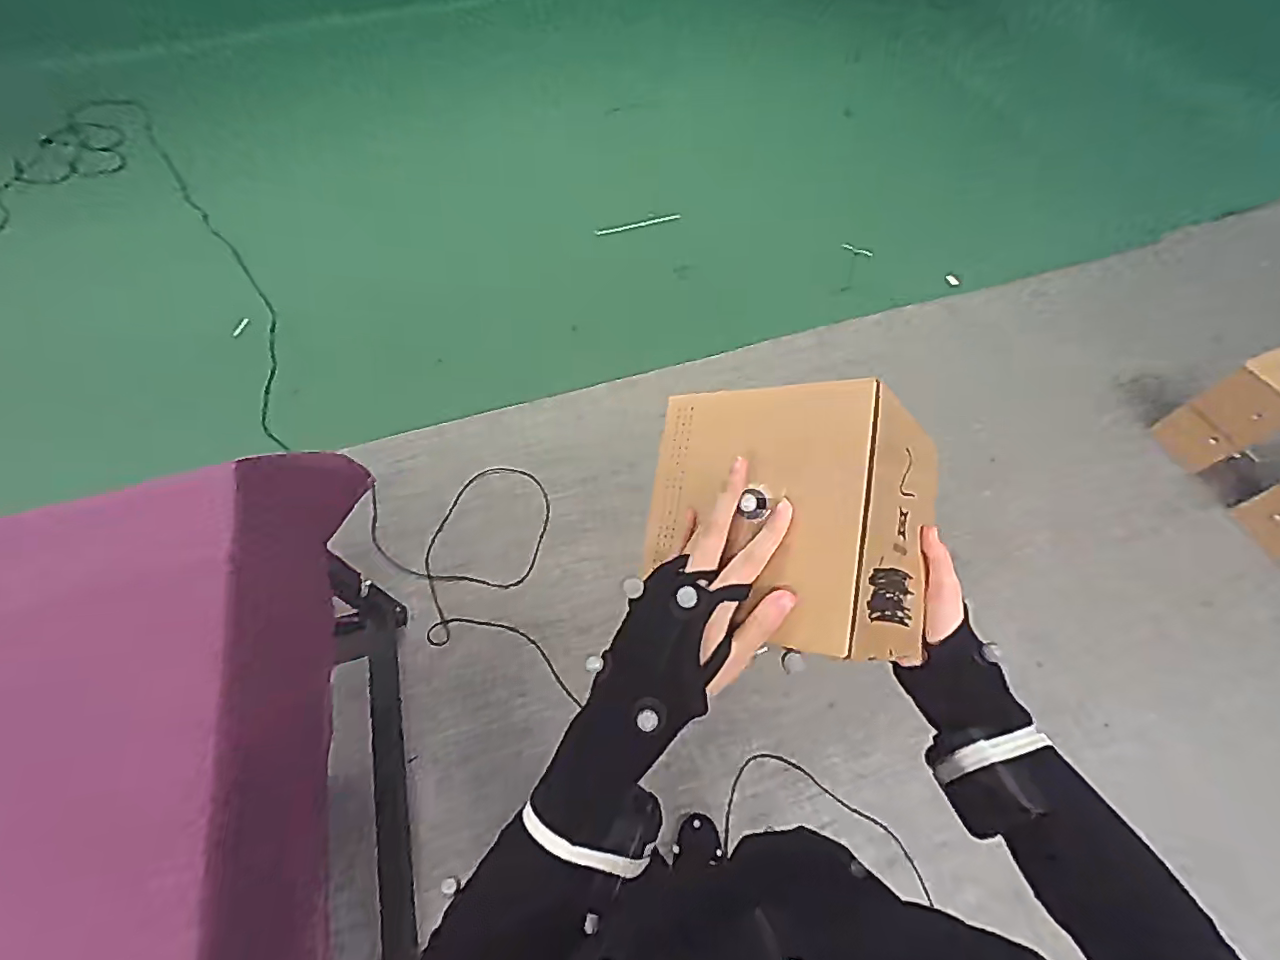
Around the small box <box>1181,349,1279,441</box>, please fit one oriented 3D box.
[{"bbox_3d":[1.698,-0.228,1.503,0.168,0.176,0.179,-19,60,-10],"label":"small box"}]

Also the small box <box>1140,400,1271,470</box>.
[{"bbox_3d":[1.712,-0.150,1.647,0.168,0.176,0.179,-19,60,-10],"label":"small box"}]
